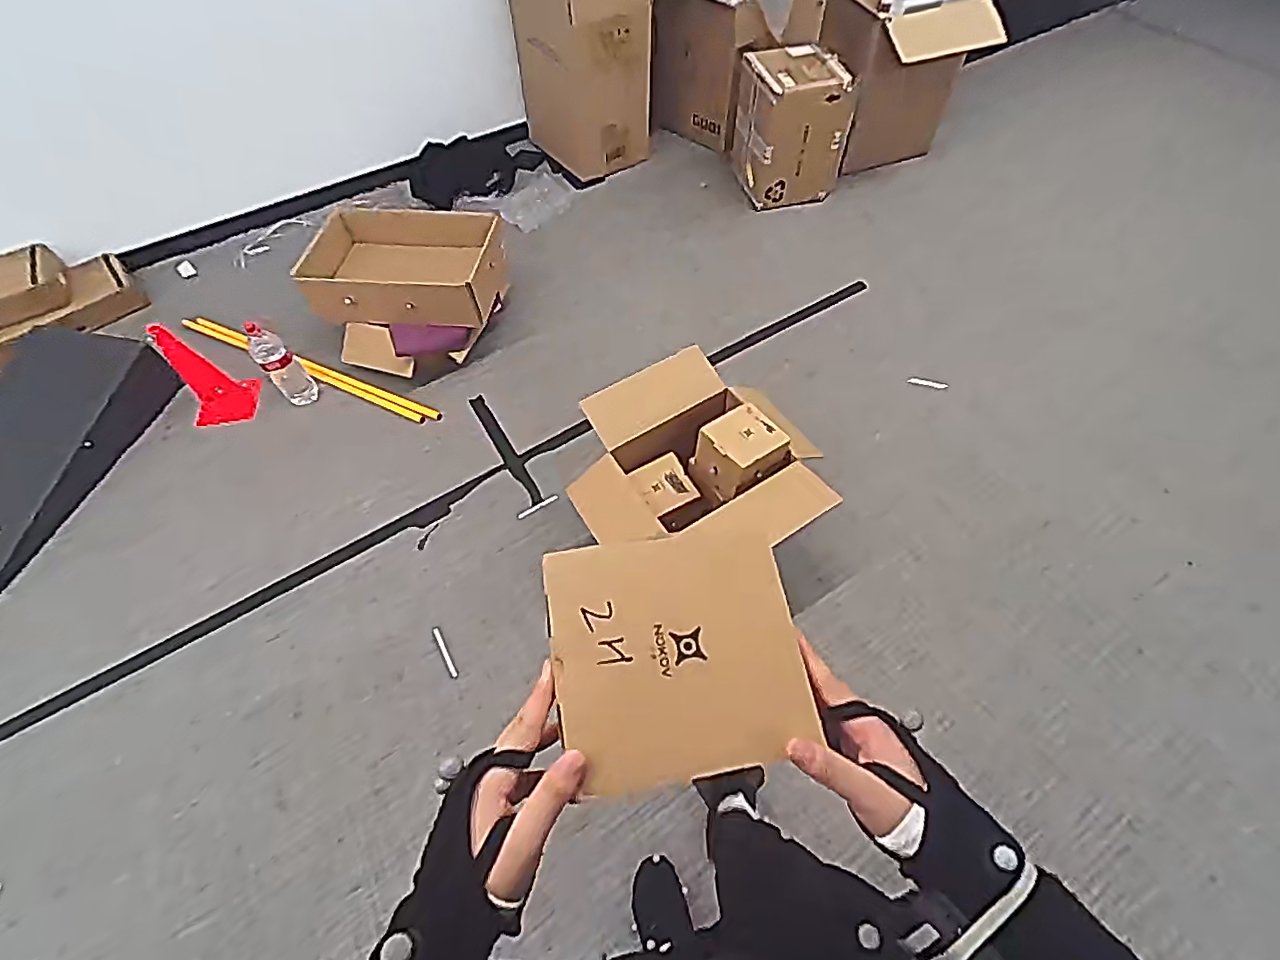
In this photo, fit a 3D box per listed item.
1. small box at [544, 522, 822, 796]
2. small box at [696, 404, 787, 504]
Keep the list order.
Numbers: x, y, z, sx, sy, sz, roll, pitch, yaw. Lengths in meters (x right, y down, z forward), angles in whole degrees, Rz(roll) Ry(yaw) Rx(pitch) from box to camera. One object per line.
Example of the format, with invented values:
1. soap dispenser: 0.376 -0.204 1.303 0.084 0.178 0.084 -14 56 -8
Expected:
1. small box: 0.022 0.148 0.458 0.179 0.176 0.168 -9 67 -5
2. small box: 0.266 -0.066 1.463 0.179 0.176 0.168 -30 60 -20
